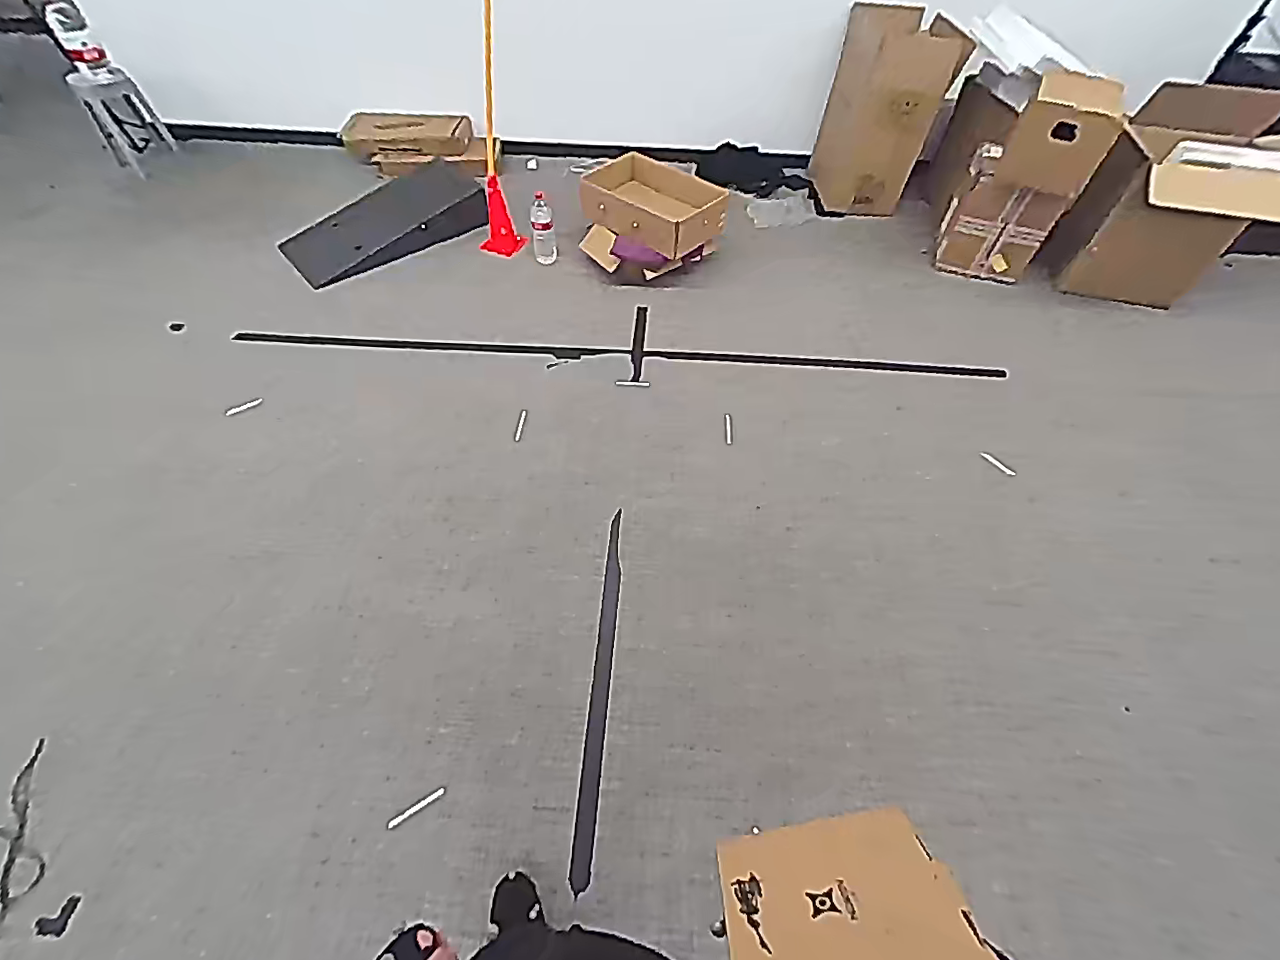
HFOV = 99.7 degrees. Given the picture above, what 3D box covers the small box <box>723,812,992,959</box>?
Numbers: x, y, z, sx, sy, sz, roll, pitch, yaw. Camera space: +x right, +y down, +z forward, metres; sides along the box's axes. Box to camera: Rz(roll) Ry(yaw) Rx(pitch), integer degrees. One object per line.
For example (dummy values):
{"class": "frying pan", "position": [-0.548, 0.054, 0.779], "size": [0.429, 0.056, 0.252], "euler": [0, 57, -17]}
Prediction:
{"class": "small box", "position": [0.176, 0.418, 0.443], "size": [0.179, 0.168, 0.176], "euler": [-12, 95, 3]}
